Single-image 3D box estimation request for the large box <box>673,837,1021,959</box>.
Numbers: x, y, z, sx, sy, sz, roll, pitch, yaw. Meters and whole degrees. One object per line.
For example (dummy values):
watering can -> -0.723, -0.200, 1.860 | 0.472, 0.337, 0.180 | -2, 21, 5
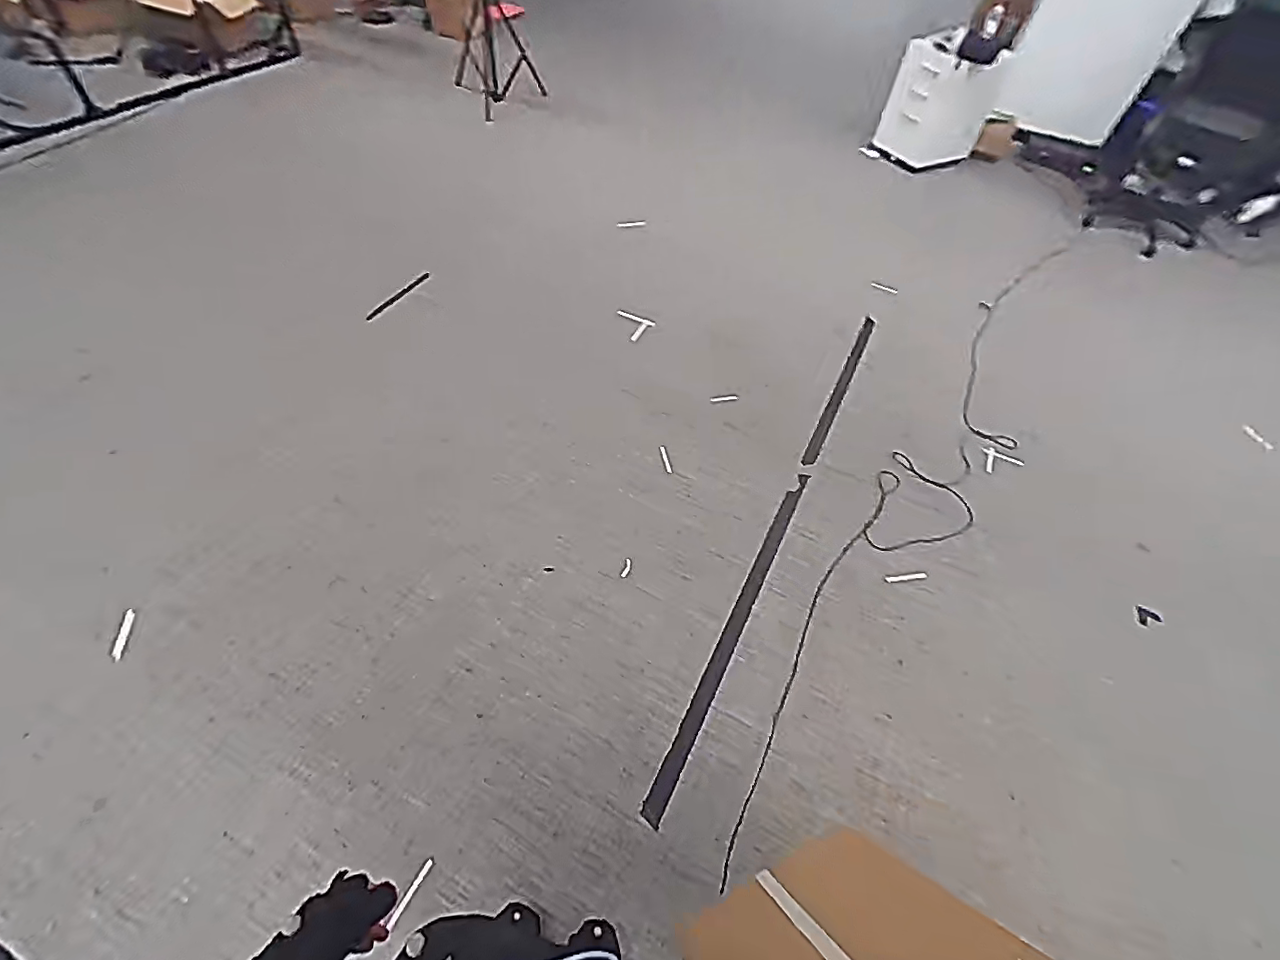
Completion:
large box -> 0.276, 0.708, 0.620 | 0.320, 0.408, 0.320 | -21, 80, -15
